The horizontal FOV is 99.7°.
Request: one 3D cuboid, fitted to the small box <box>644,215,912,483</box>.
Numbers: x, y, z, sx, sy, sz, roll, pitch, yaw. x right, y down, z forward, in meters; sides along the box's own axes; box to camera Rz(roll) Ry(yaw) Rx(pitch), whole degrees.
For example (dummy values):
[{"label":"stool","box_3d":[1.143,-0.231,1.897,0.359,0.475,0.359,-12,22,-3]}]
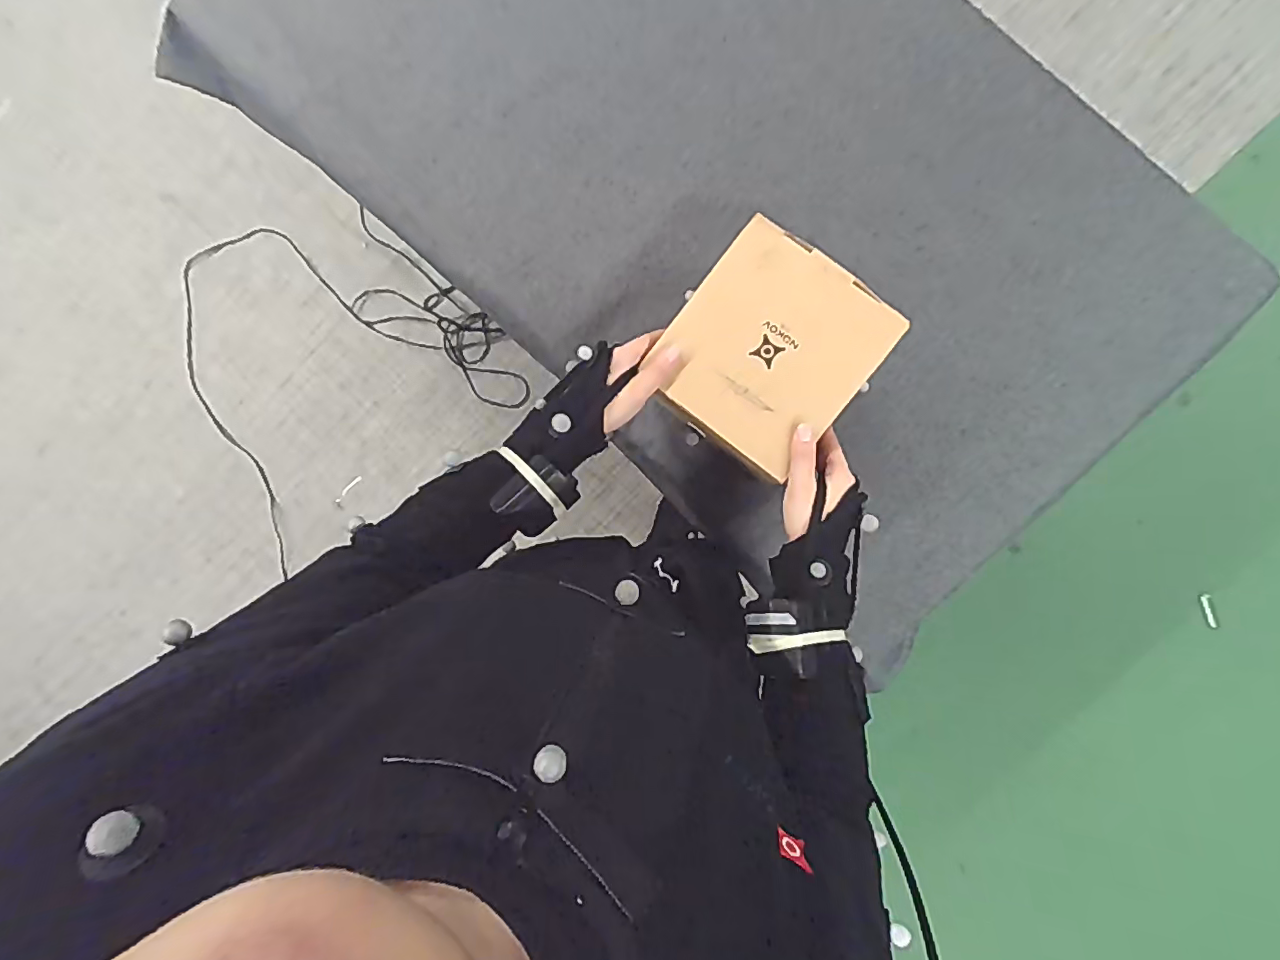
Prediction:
[{"label":"small box","box_3d":[0.124,-0.115,0.546,0.168,0.176,0.179,37,95,5]}]
